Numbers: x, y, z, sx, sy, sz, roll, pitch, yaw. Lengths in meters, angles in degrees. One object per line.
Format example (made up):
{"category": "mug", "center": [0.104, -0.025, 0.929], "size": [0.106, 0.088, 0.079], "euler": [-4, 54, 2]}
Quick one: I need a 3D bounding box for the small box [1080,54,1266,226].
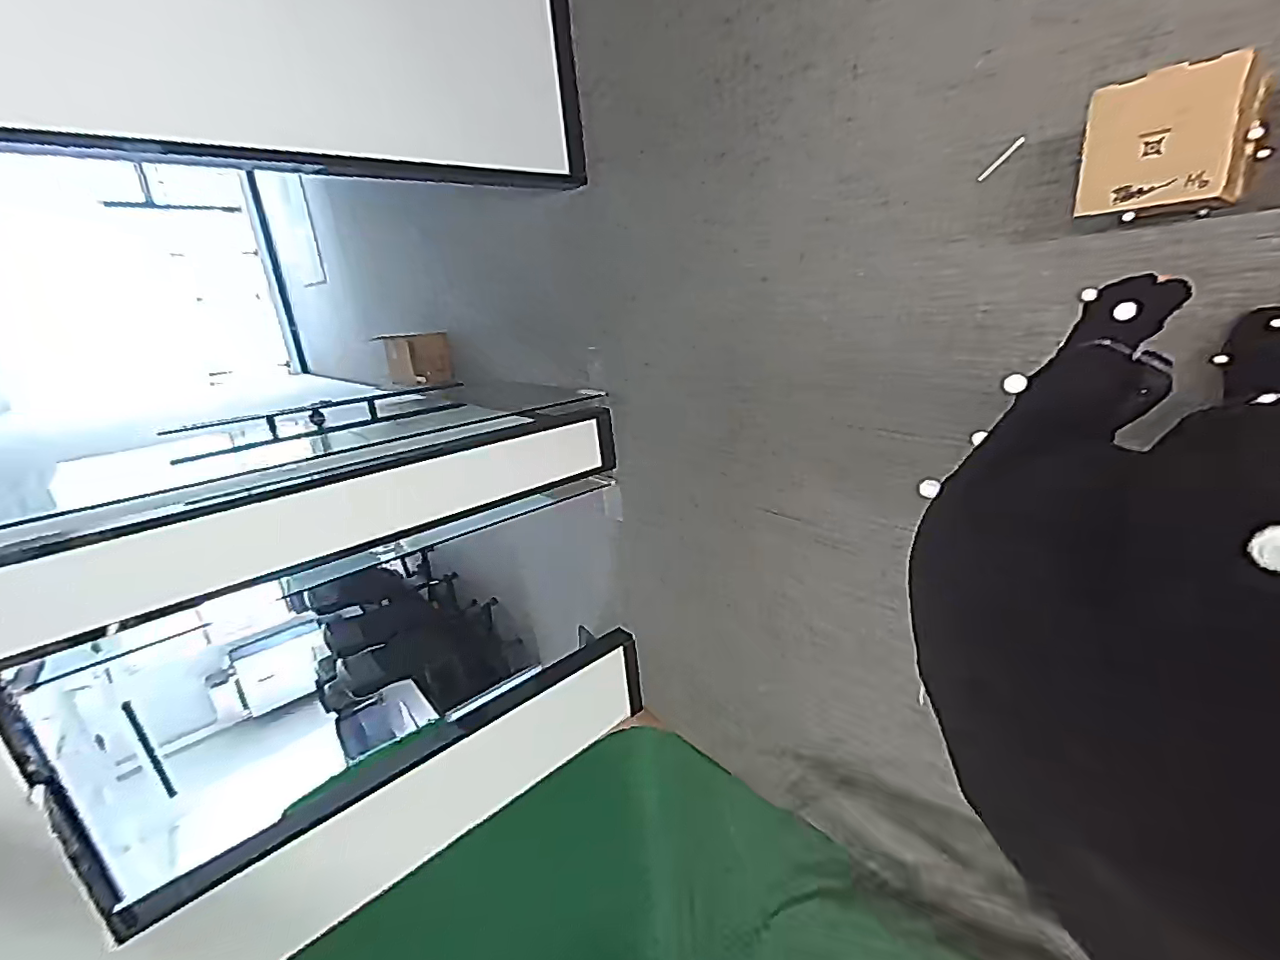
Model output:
{"category": "small box", "center": [0.807, -0.498, 0.823], "size": [0.168, 0.176, 0.179], "euler": [17, 116, 47]}
